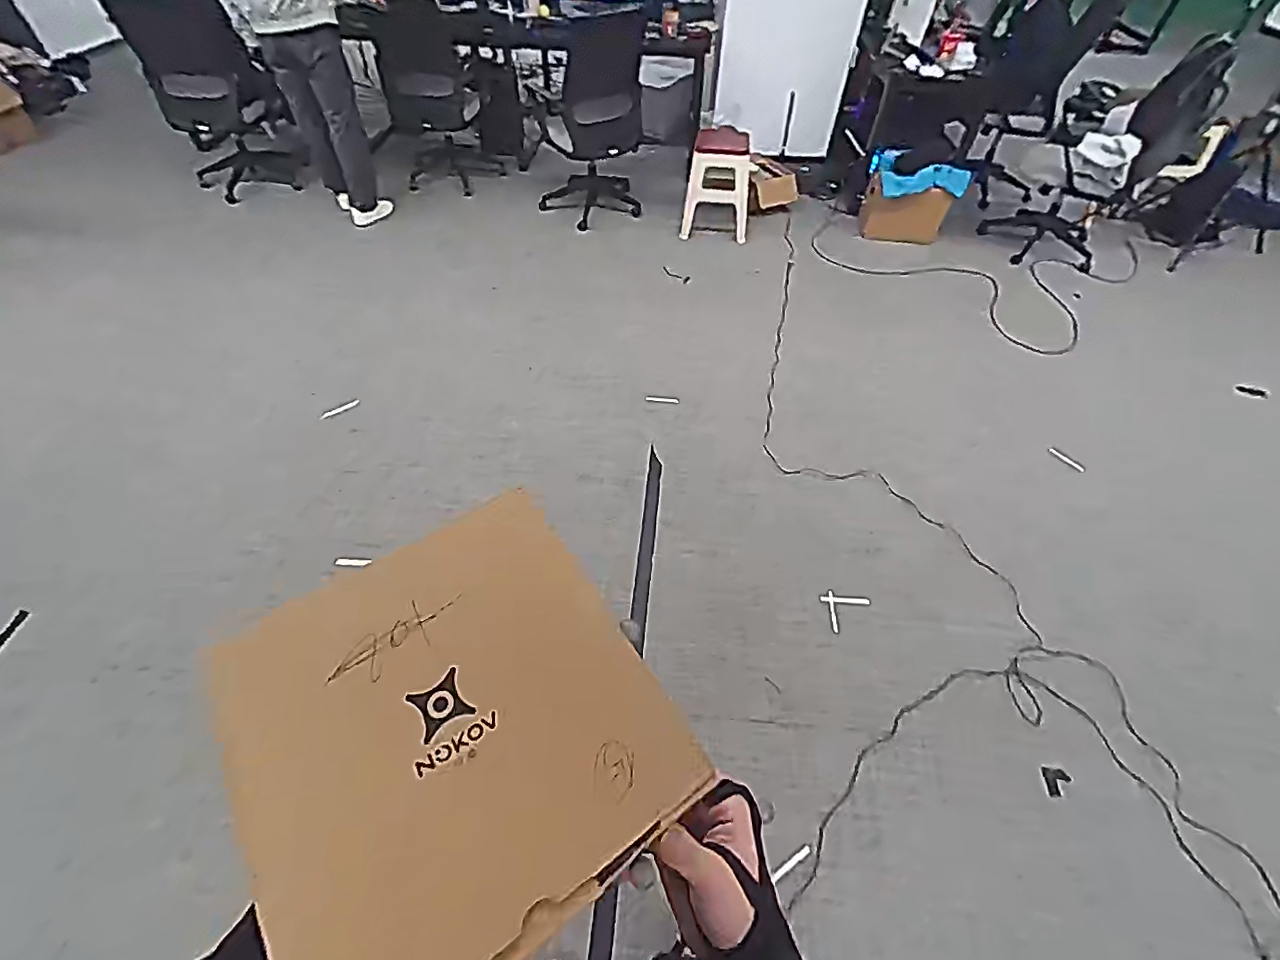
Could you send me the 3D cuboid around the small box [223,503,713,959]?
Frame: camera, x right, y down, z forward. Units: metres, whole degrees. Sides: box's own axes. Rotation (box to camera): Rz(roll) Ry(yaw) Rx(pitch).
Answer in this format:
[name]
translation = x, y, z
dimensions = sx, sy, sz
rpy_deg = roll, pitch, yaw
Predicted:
[small box]
translation = -0.081, 0.152, 0.309
dimensions = 0.168, 0.176, 0.179
rpy_deg = -32, 61, -20
